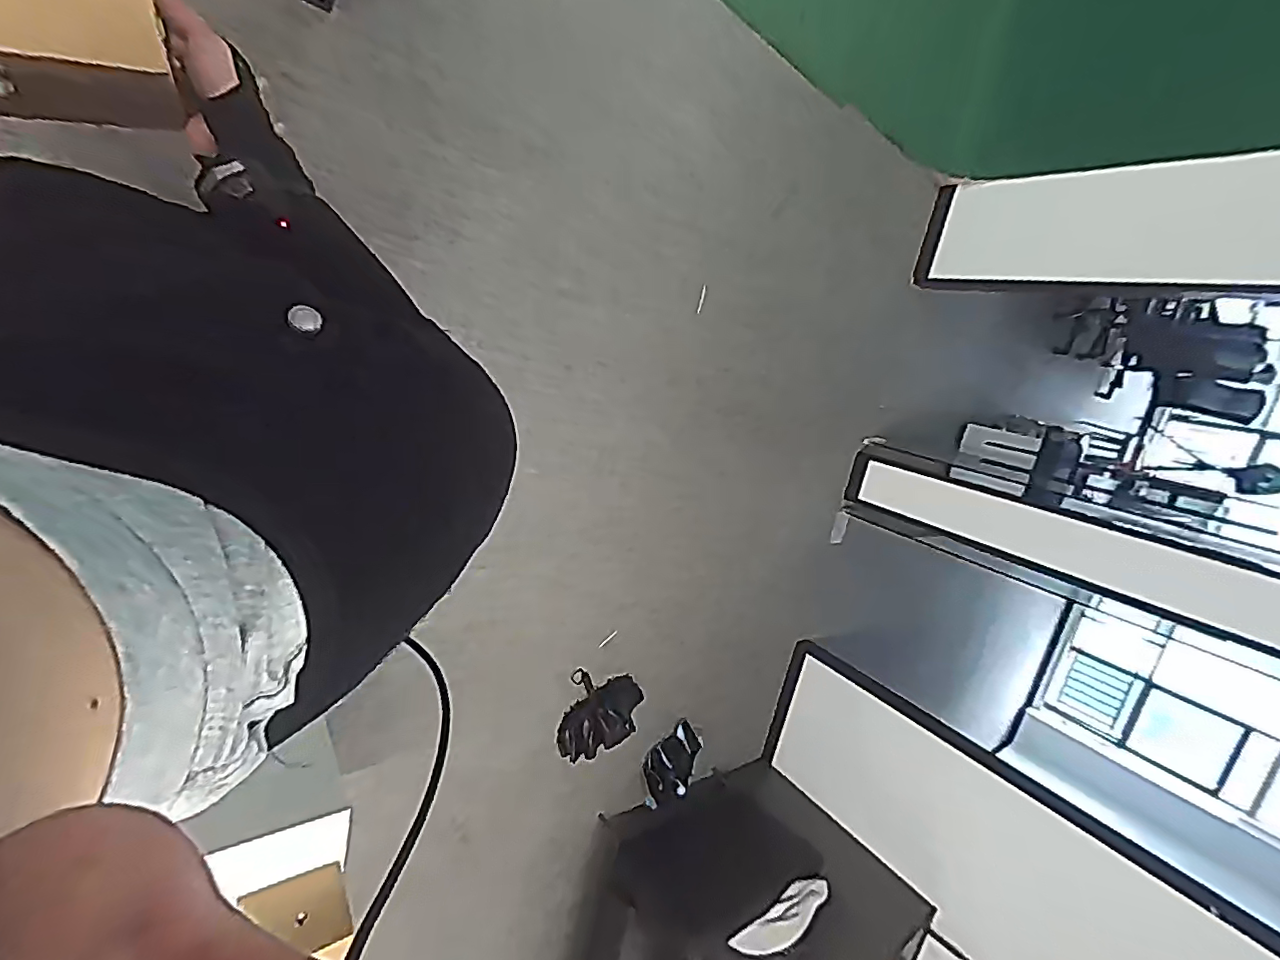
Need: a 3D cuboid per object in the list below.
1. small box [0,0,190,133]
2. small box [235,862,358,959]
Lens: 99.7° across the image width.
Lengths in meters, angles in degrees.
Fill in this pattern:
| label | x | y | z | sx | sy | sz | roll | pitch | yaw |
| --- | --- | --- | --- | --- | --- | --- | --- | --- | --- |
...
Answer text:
| label | x | y | z | sx | sy | sz | roll | pitch | yaw |
| --- | --- | --- | --- | --- | --- | --- | --- | --- | --- |
| small box | -0.432 | -0.346 | 0.354 | 0.179 | 0.176 | 0.168 | -15 | 114 | -32 |
| small box | -0.655 | 0.883 | 1.023 | 0.179 | 0.176 | 0.168 | 1 | 107 | -40 |
